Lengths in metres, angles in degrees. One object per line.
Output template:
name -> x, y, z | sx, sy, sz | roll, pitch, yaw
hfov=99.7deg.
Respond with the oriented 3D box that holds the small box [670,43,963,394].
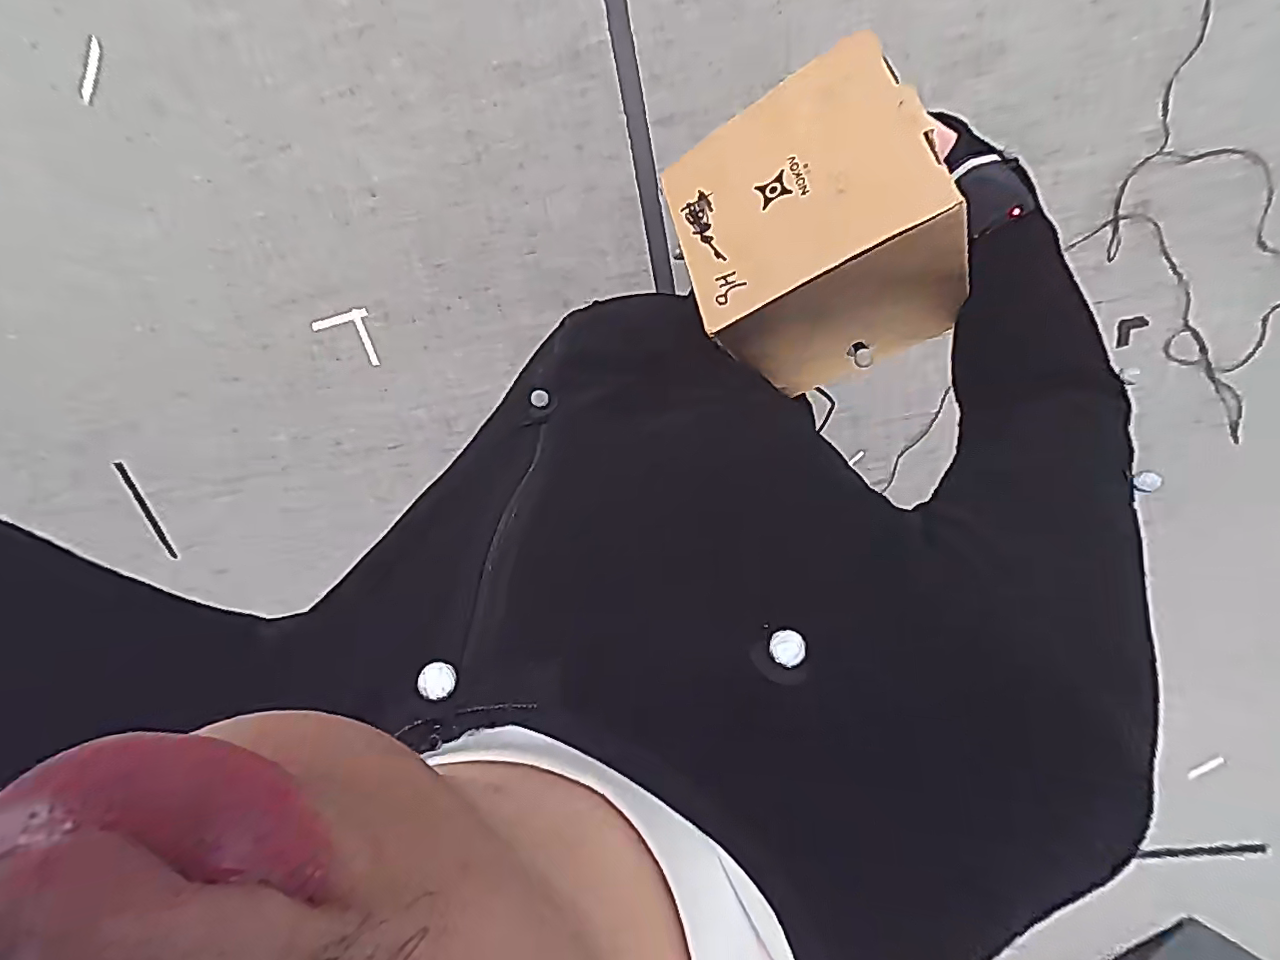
small box -> 0.154, -0.199, 0.468 | 0.179, 0.176, 0.168 | -23, 67, 26
